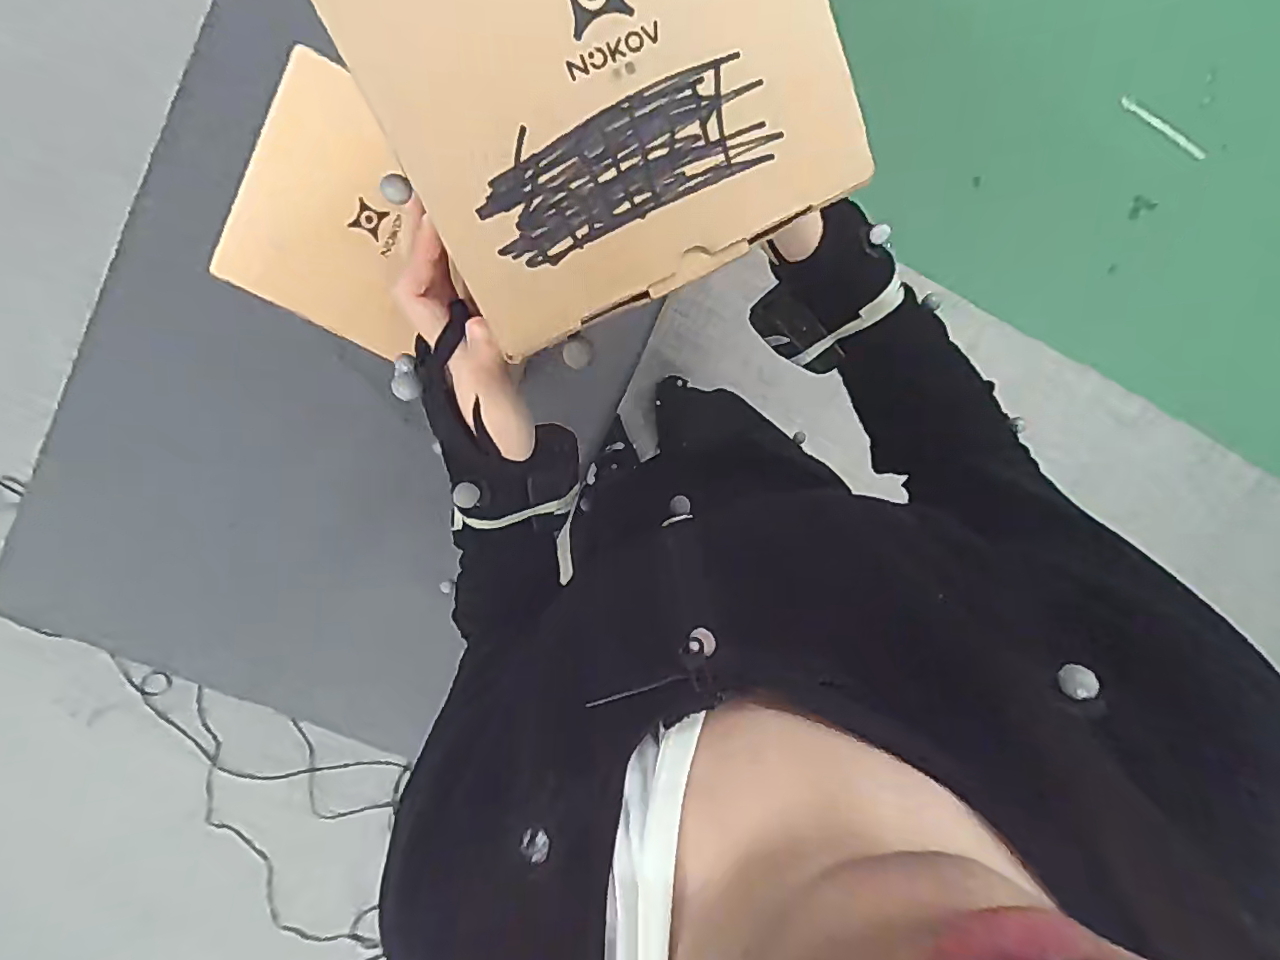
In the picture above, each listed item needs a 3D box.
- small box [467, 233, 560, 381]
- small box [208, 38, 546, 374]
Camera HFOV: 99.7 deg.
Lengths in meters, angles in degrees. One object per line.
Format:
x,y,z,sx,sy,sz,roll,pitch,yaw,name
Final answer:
-0.204,-0.220,0.613,0.179,0.176,0.168,25,97,-10,small box
-0.193,-0.196,0.453,0.179,0.176,0.168,25,96,-10,small box
